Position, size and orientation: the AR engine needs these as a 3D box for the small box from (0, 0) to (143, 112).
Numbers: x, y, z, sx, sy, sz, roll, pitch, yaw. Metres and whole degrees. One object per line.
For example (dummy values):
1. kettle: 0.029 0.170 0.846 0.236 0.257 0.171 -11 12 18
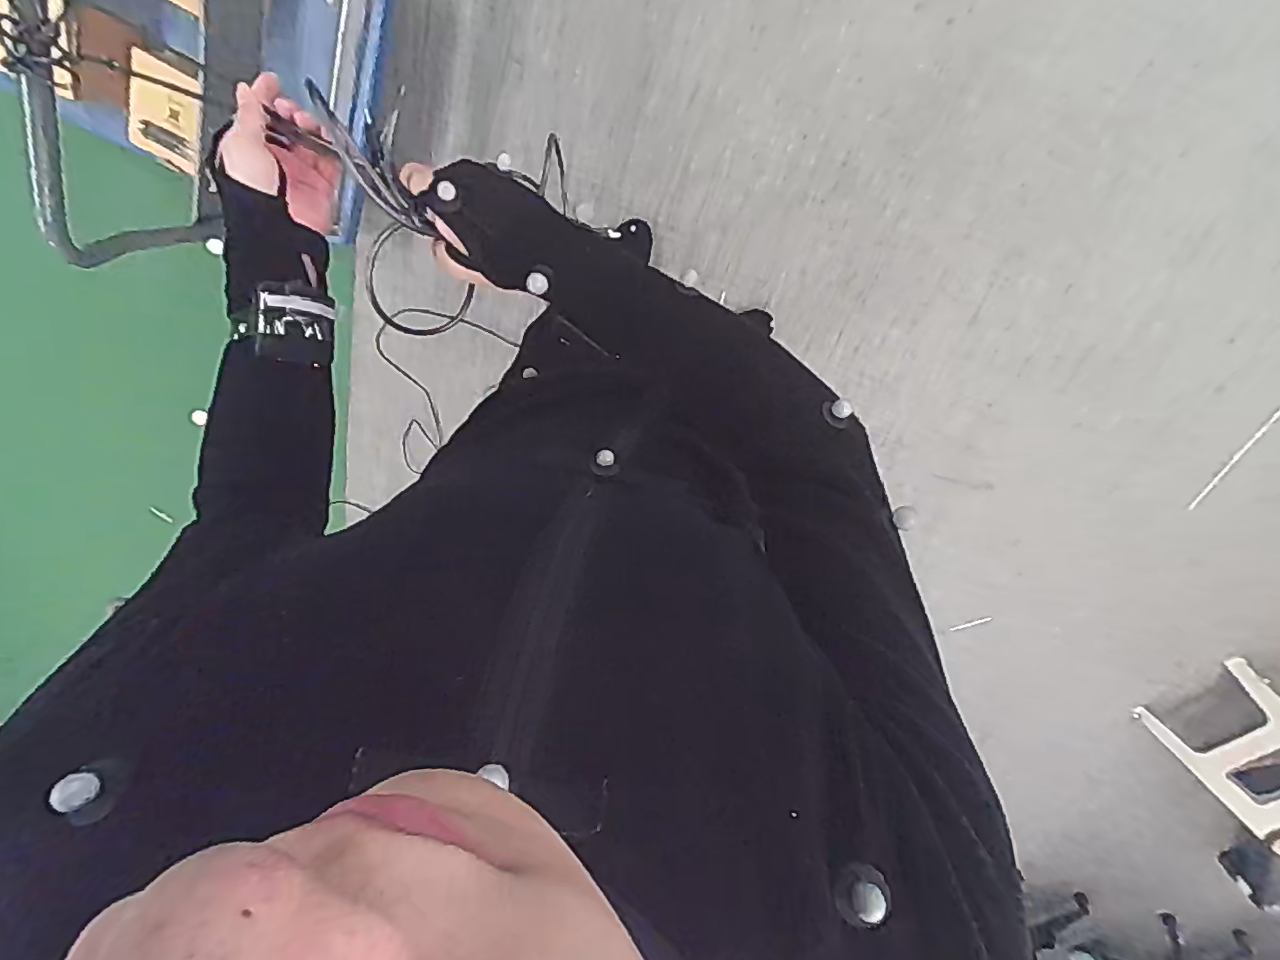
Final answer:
1. small box: -1.147 -0.865 1.083 0.179 0.176 0.168 21 118 -5

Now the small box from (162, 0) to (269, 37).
1. small box: -0.823 -0.962 0.995 0.179 0.176 0.168 25 118 -9
